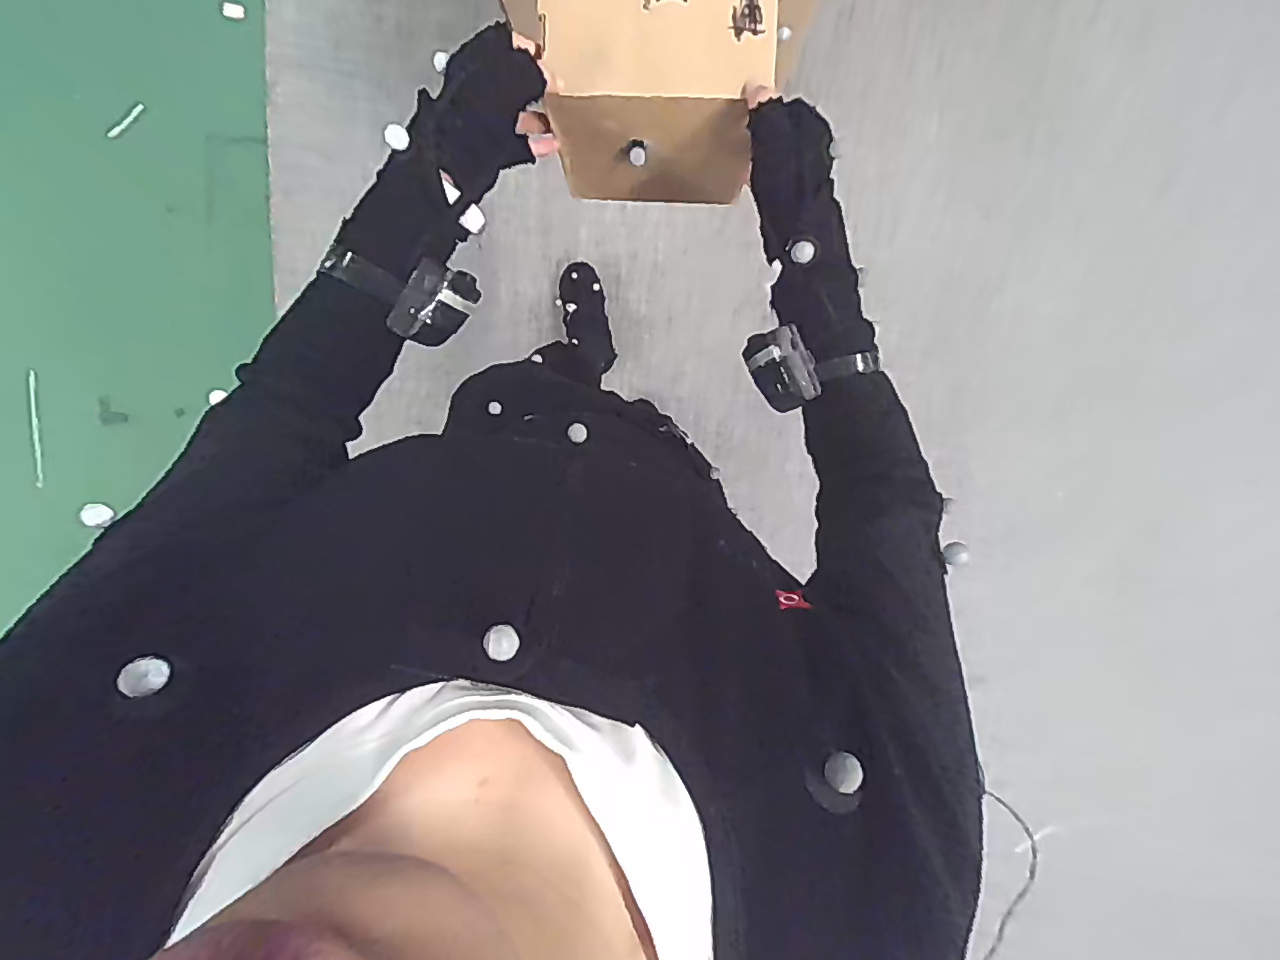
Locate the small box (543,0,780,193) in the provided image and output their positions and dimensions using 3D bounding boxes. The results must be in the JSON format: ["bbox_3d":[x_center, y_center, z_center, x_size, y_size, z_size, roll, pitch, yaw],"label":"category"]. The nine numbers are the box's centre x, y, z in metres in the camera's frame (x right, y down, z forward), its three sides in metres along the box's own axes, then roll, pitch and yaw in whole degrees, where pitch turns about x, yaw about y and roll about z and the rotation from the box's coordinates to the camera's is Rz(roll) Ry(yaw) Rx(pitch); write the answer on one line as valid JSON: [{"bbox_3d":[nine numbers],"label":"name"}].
[{"bbox_3d":[0.021,-0.377,0.479,0.179,0.176,0.168,2,92,1],"label":"small box"}]
